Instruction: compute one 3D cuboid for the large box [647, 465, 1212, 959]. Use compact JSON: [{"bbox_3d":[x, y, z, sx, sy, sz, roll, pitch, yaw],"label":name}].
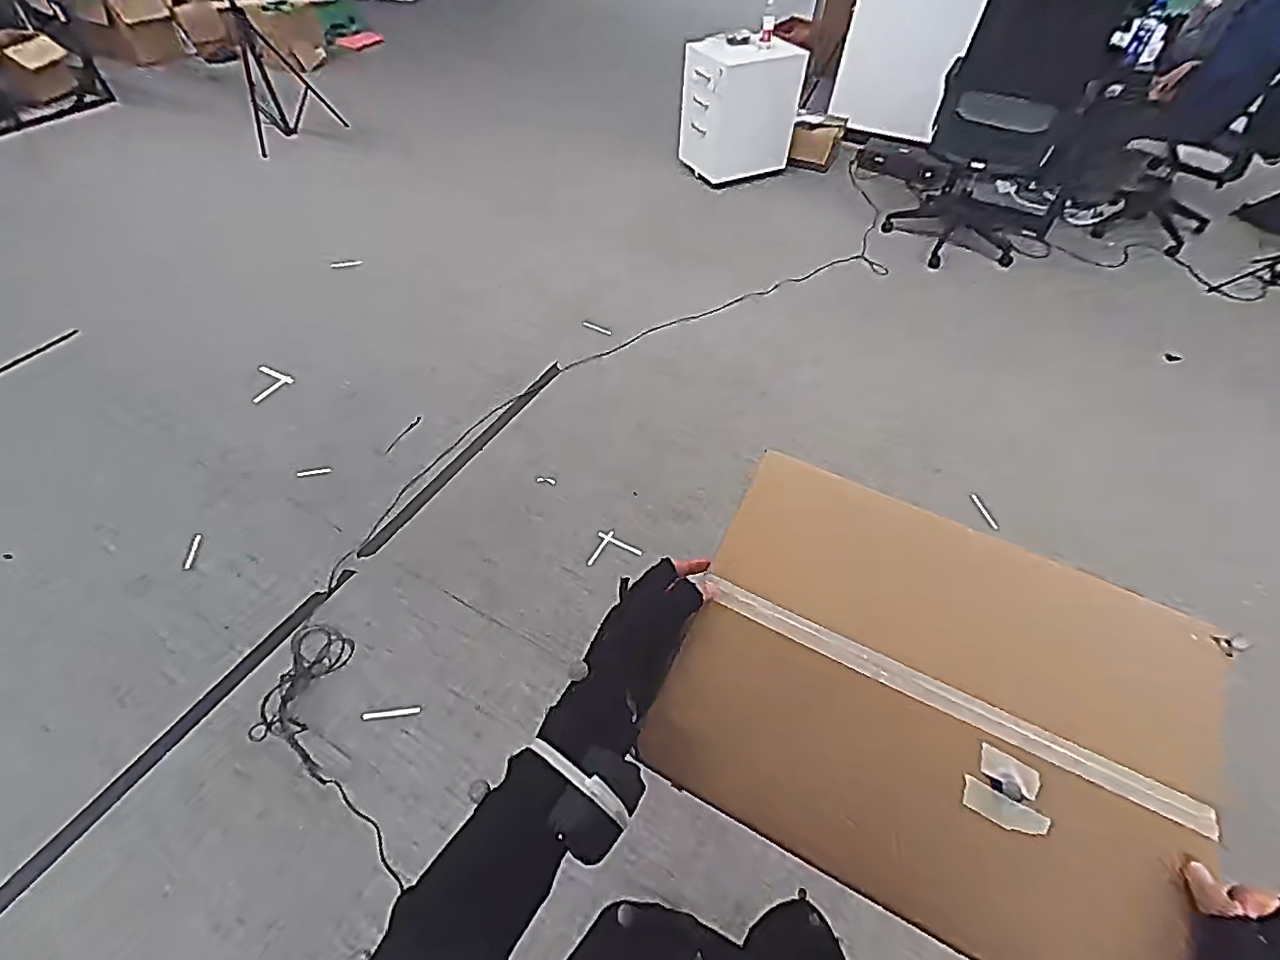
[{"bbox_3d":[0.254,0.245,0.591,0.408,0.320,0.320,25,69,14],"label":"large box"}]
